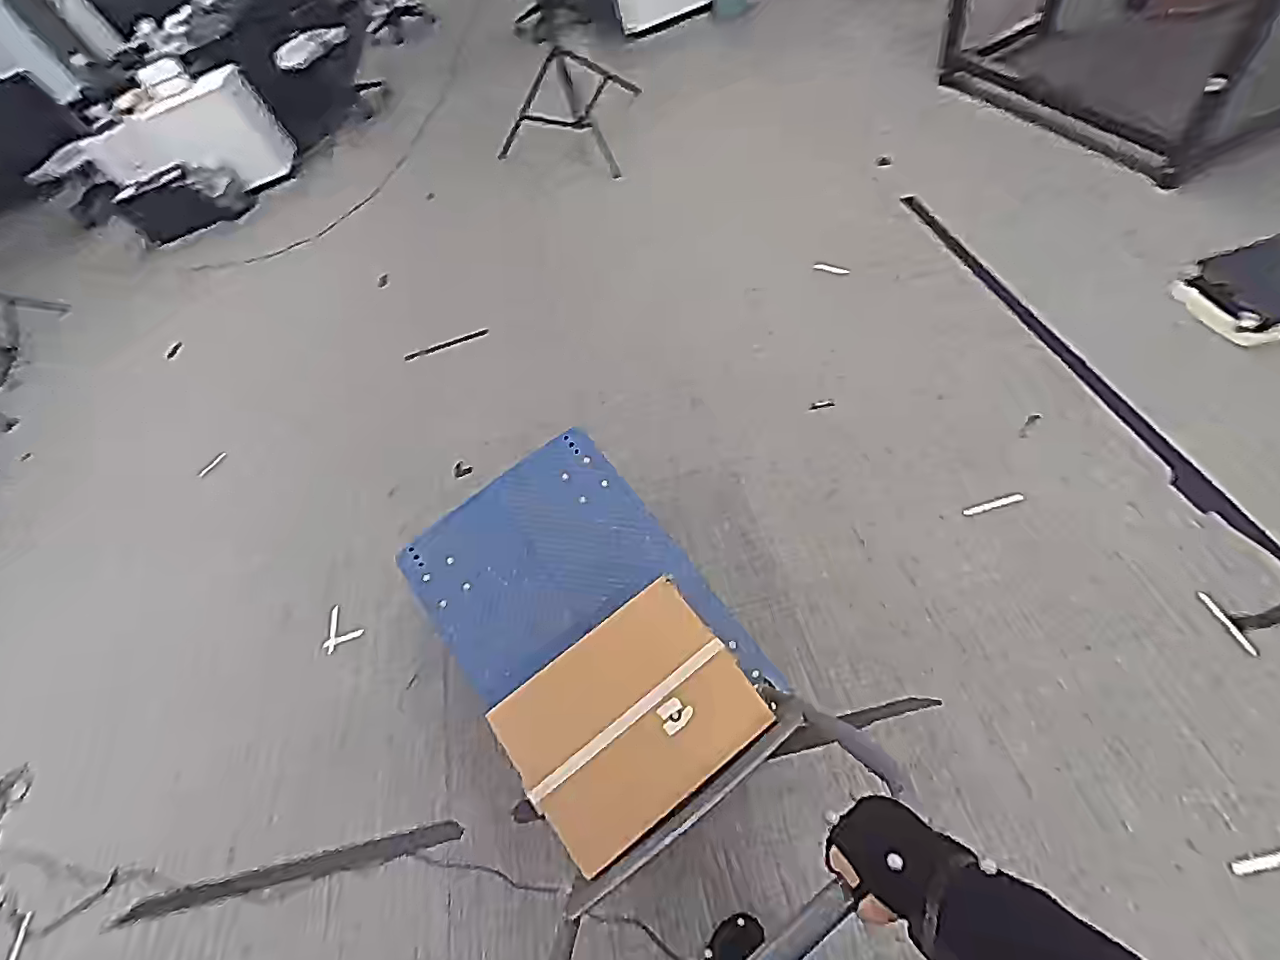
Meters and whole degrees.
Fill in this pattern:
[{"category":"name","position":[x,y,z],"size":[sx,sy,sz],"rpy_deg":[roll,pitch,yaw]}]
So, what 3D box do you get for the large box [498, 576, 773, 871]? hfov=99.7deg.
[{"category":"large box","position":[-0.005,0.461,1.095],"size":[0.408,0.320,0.320],"rpy_deg":[-37,75,-9]}]
